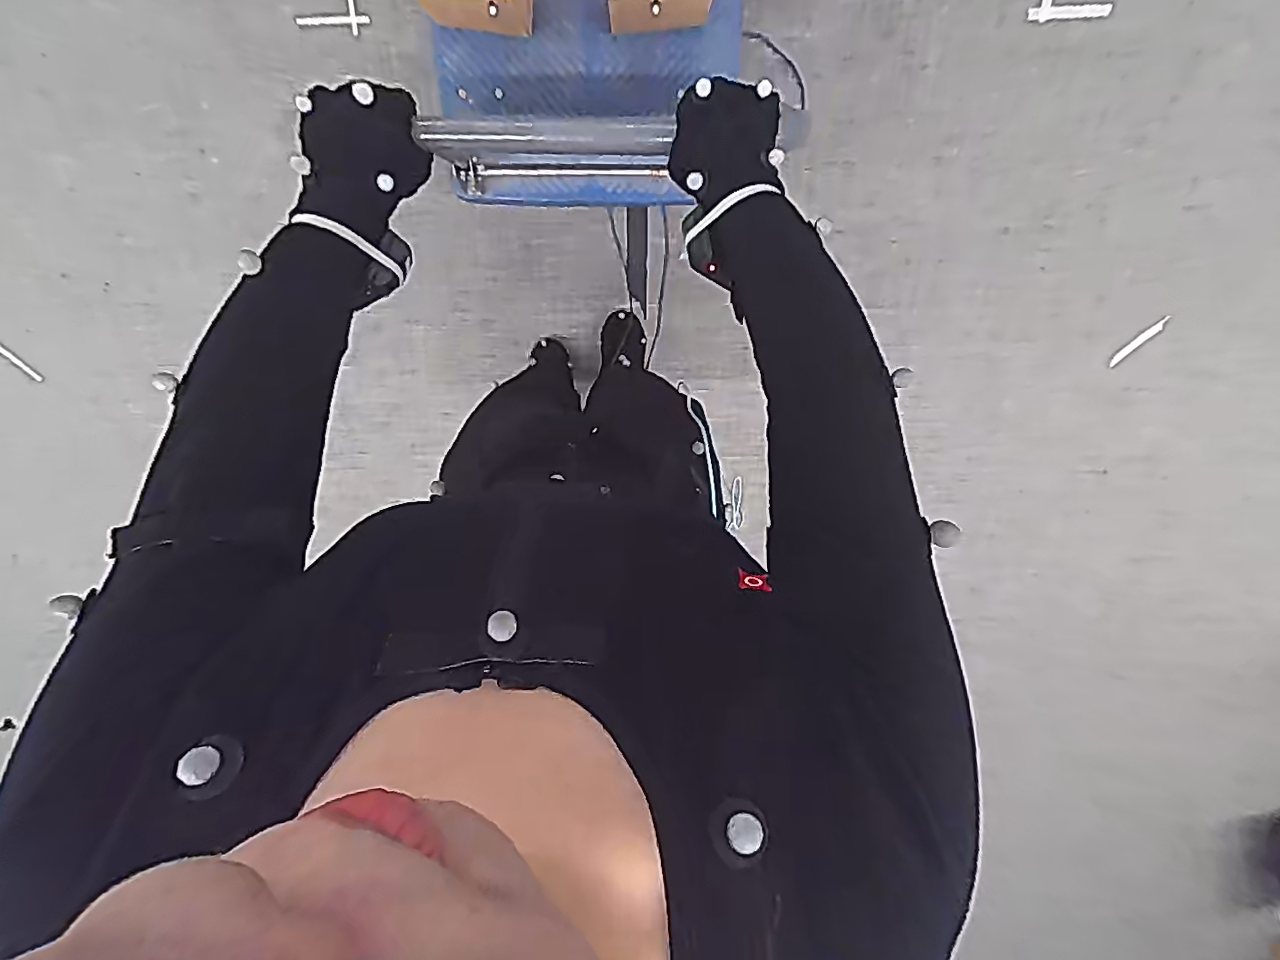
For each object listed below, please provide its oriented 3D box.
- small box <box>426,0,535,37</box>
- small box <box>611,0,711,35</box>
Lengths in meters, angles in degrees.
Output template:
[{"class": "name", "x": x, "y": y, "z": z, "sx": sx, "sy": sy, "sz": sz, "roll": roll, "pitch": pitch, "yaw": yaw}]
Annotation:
[{"class": "small box", "x": -0.274, "y": -0.876, "z": 0.900, "sx": 0.179, "sy": 0.176, "sz": 0.168, "roll": 5, "pitch": 112, "yaw": -4}, {"class": "small box", "x": 0.031, "y": -0.878, "z": 0.902, "sx": 0.179, "sy": 0.176, "sz": 0.168, "roll": -5, "pitch": 113, "yaw": 2}]
